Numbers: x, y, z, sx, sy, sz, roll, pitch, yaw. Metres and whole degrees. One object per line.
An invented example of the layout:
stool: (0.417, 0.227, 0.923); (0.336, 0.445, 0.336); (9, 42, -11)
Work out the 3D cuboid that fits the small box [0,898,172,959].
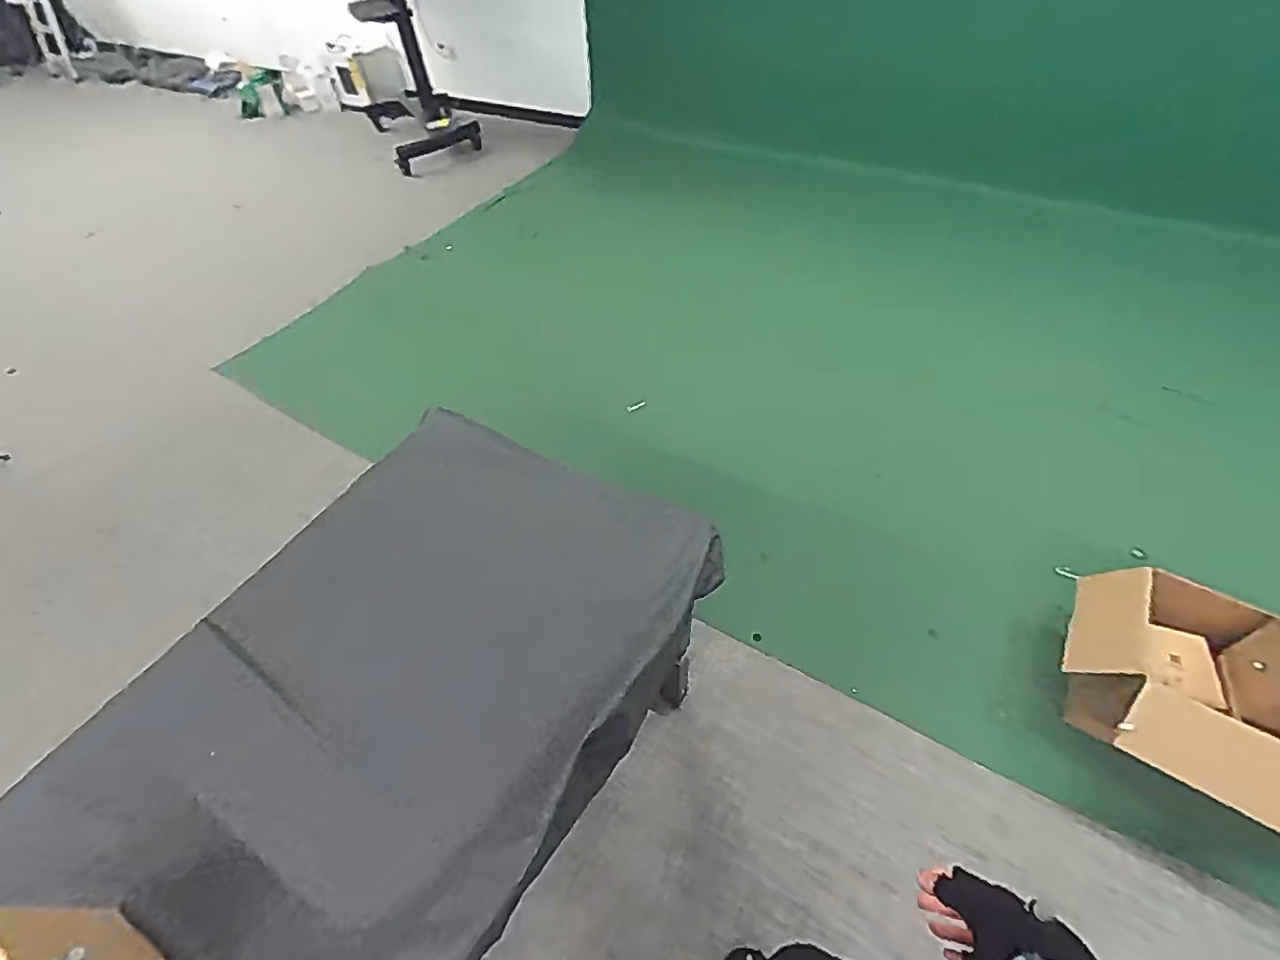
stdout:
small box: (-0.547, 0.510, 0.472); (0.179, 0.176, 0.168); (21, 54, 19)
